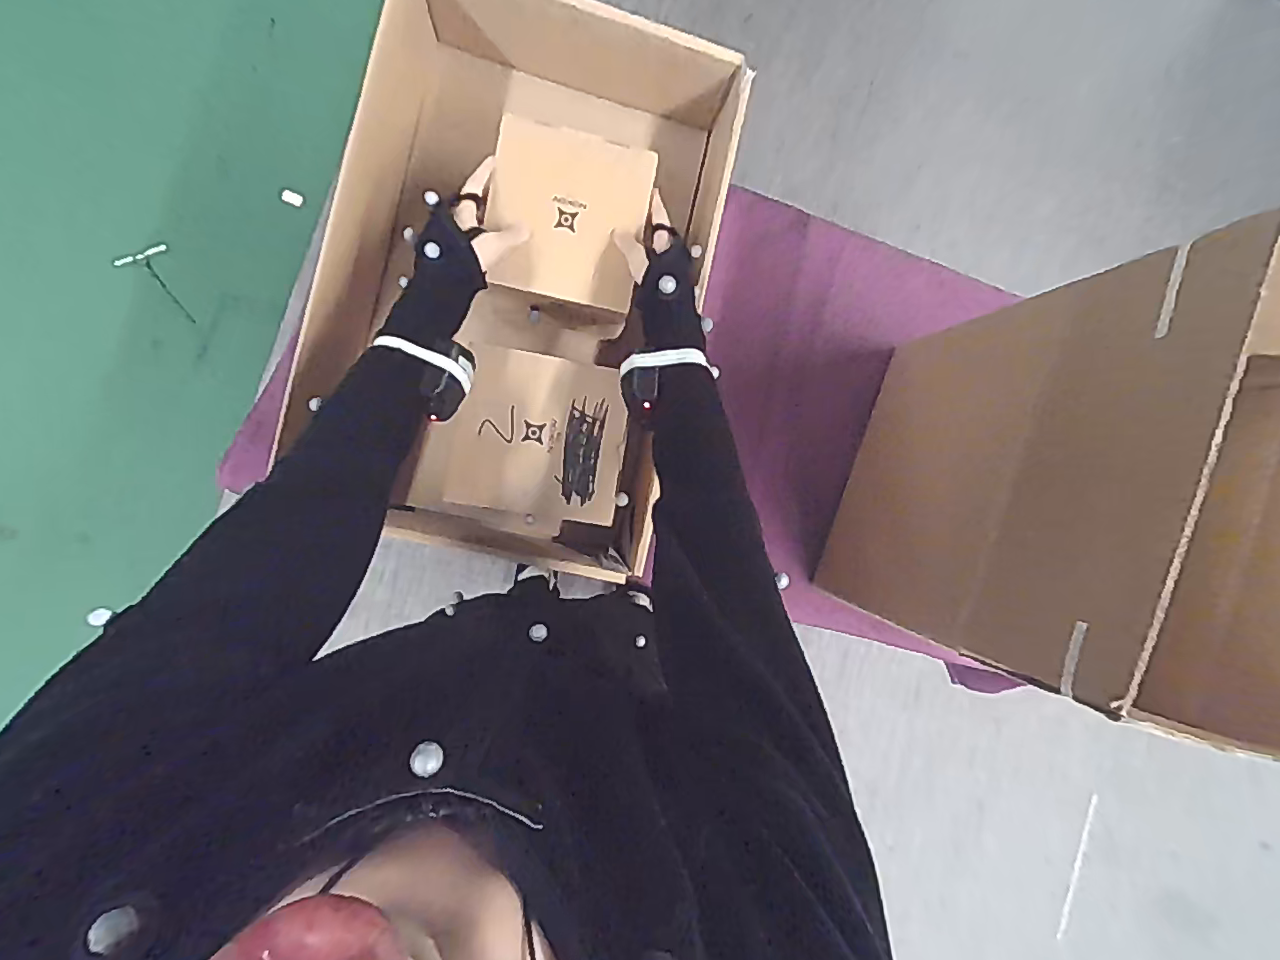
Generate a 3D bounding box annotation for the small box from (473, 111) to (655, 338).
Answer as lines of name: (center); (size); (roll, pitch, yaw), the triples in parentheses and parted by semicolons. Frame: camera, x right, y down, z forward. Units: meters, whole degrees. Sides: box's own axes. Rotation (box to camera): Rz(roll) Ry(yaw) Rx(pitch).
small box: (-0.087, -0.282, 0.644); (0.168, 0.176, 0.179); (11, 90, -7)
